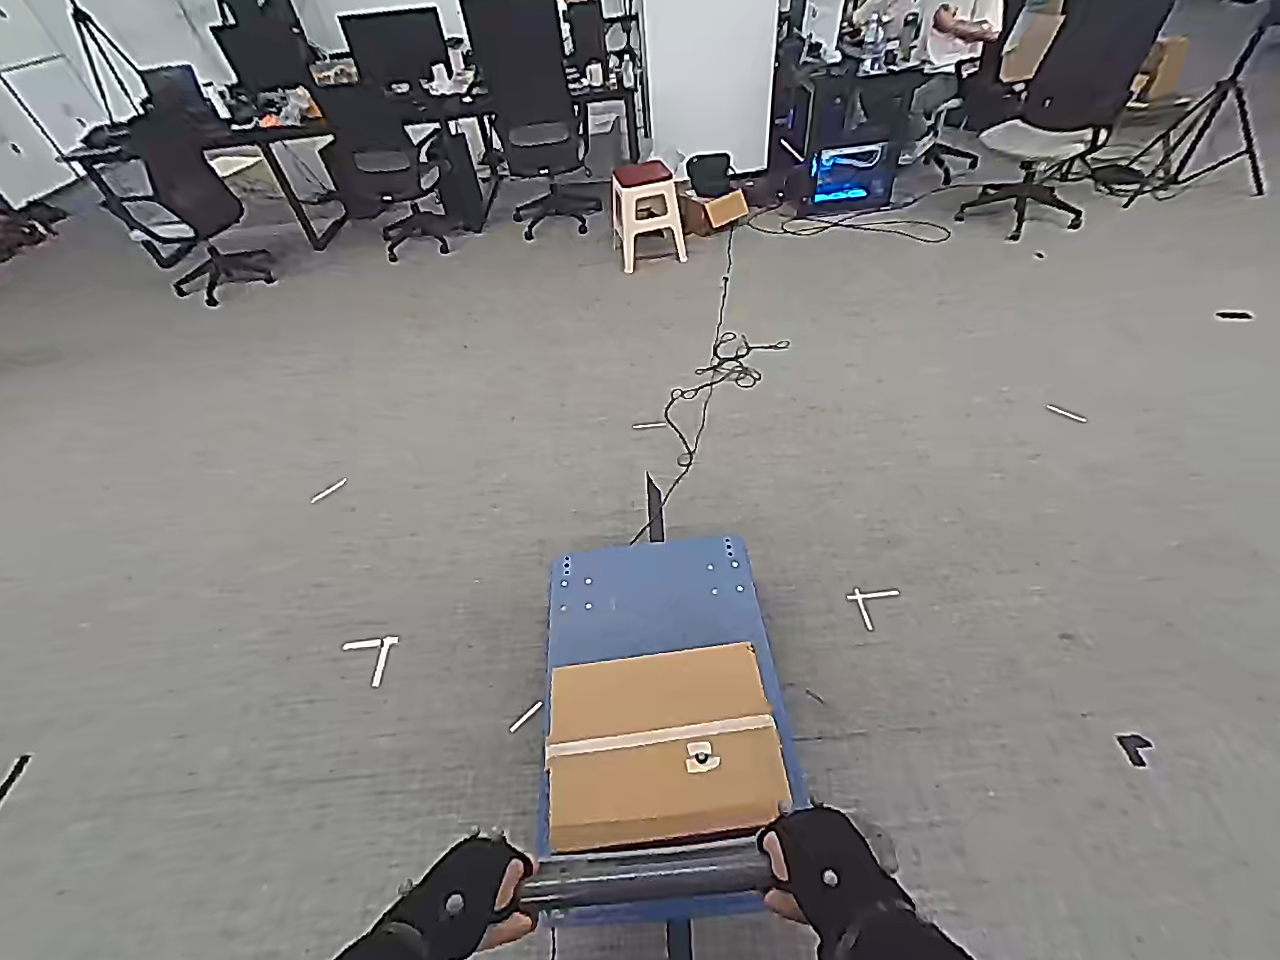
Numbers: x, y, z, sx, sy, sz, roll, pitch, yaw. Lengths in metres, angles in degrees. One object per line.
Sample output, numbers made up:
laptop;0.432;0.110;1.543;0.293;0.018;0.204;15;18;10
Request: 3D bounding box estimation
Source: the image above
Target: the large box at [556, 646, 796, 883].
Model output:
large box;0.057;0.576;1.090;0.408;0.320;0.320;-8;48;-1
